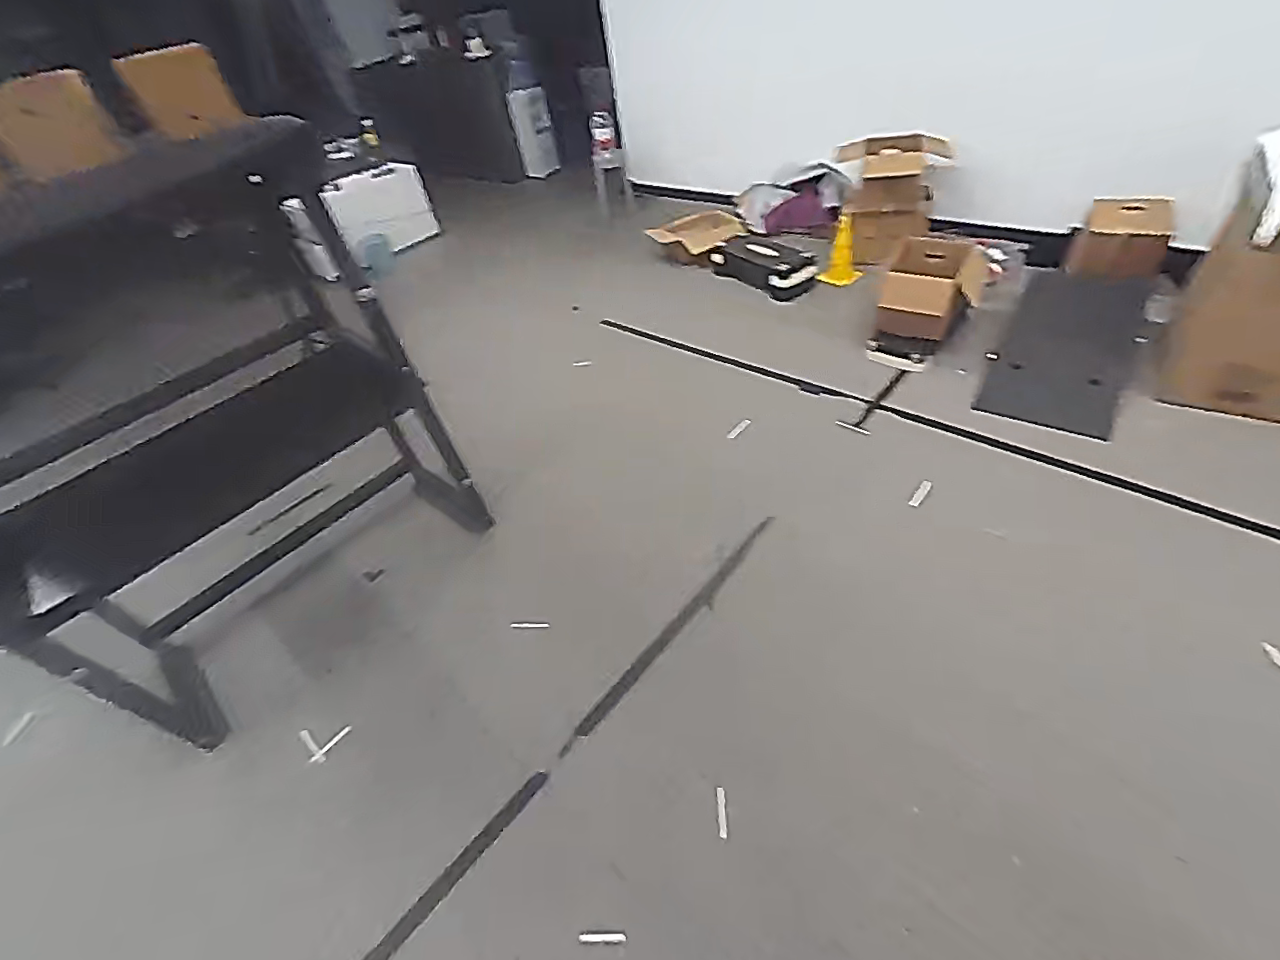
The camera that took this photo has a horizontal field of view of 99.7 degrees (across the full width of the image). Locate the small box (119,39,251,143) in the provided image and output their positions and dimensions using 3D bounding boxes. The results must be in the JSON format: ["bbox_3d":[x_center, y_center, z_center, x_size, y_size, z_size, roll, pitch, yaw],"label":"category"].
[{"bbox_3d":[-1.059,-0.907,1.266,0.168,0.176,0.179,-37,49,-23],"label":"small box"}]

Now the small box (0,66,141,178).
[{"bbox_3d":[-1.262,-0.783,1.183,0.179,0.176,0.168,-28,46,-17],"label":"small box"}]
